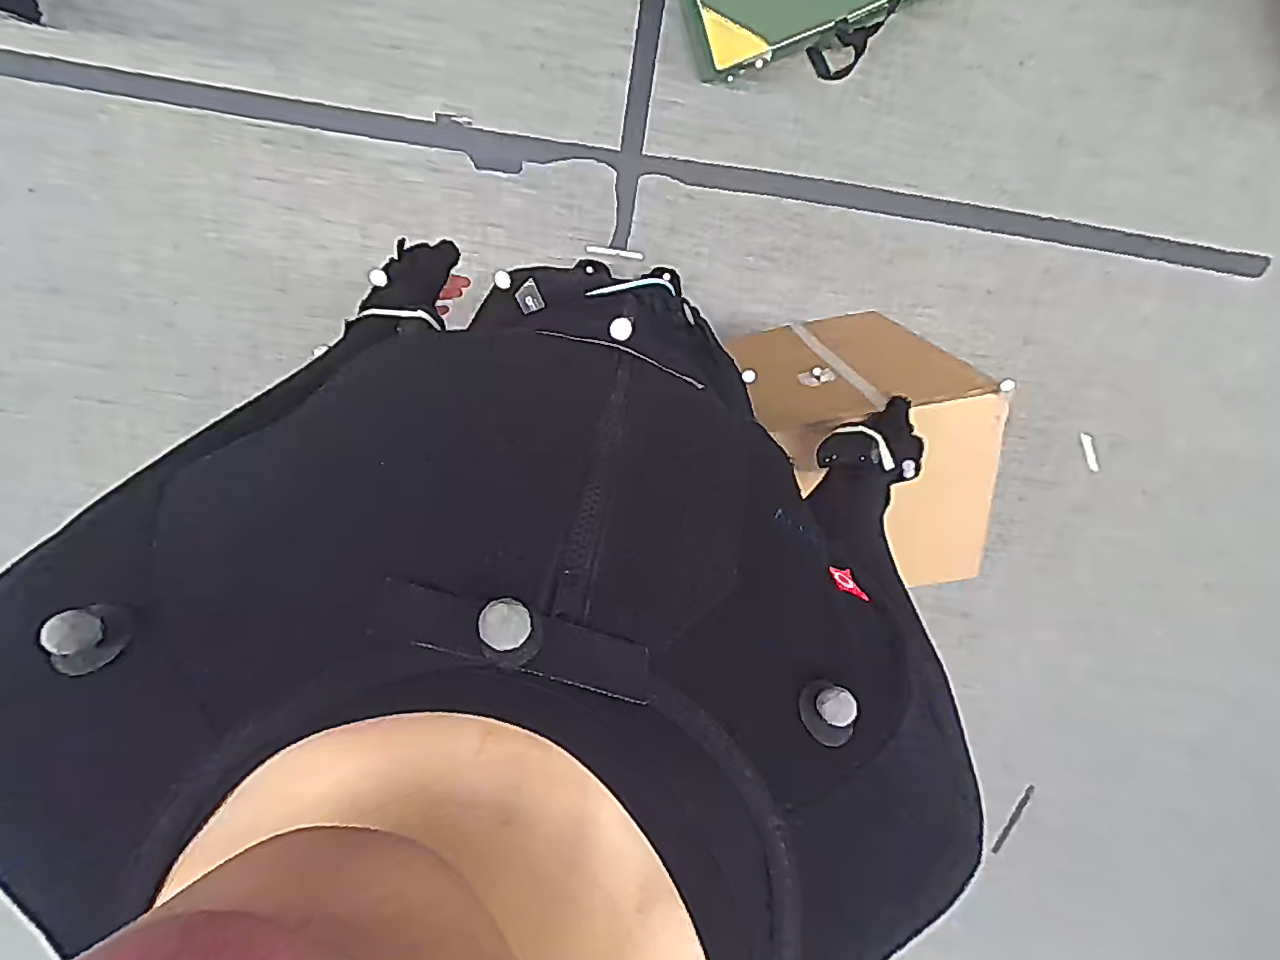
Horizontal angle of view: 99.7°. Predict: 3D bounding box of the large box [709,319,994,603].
[{"bbox_3d":[0.320,-0.054,0.947,0.320,0.408,0.320,-11,122,3],"label":"large box"}]
